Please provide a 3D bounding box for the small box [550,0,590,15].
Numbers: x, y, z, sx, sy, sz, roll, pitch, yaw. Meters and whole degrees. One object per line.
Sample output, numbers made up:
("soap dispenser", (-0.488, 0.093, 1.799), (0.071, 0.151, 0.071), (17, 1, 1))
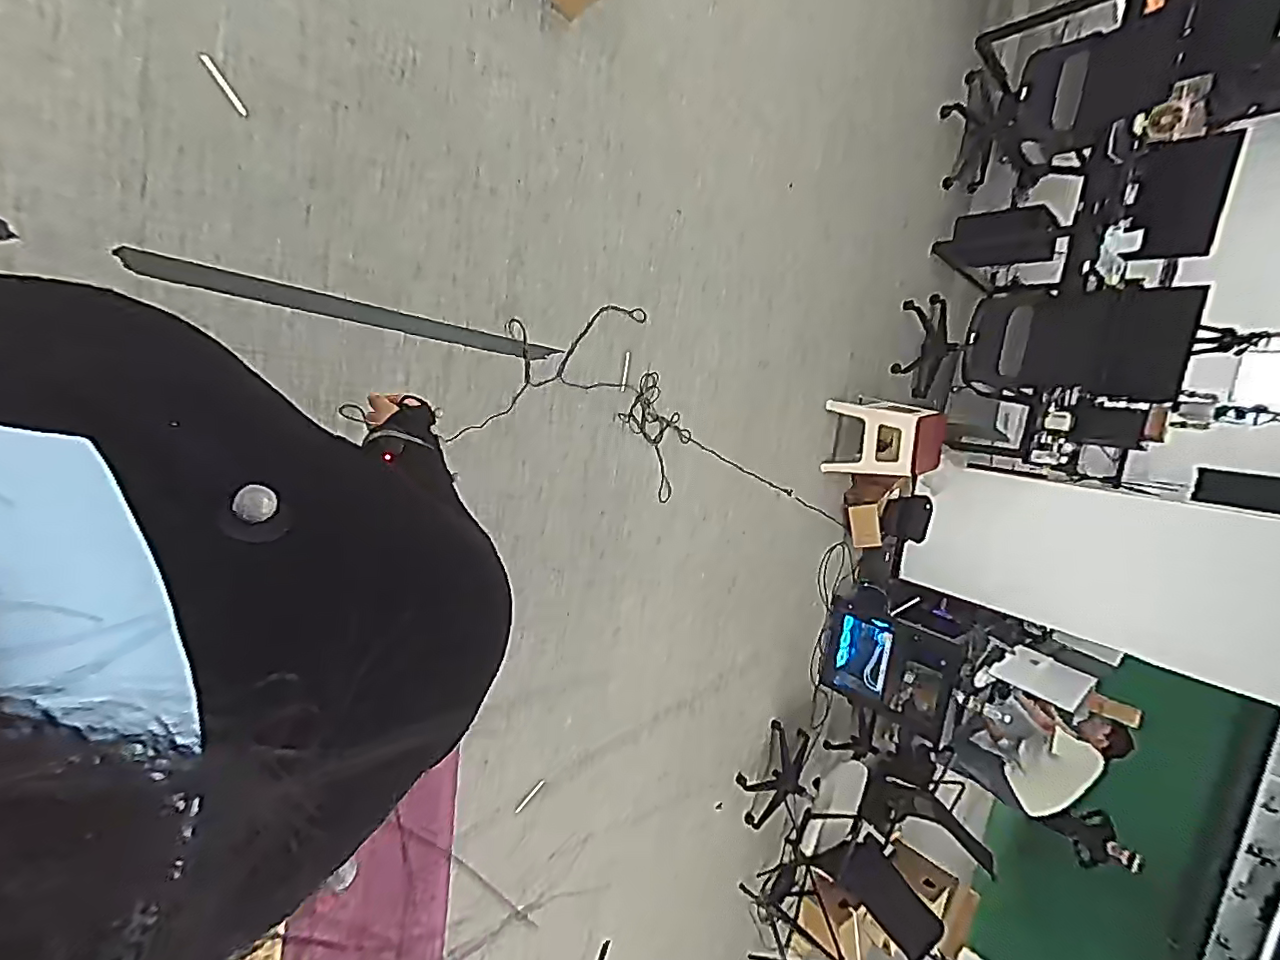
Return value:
("small box", (-0.187, -1.398, 1.434), (0.179, 0.176, 0.168), (14, 92, -43))
